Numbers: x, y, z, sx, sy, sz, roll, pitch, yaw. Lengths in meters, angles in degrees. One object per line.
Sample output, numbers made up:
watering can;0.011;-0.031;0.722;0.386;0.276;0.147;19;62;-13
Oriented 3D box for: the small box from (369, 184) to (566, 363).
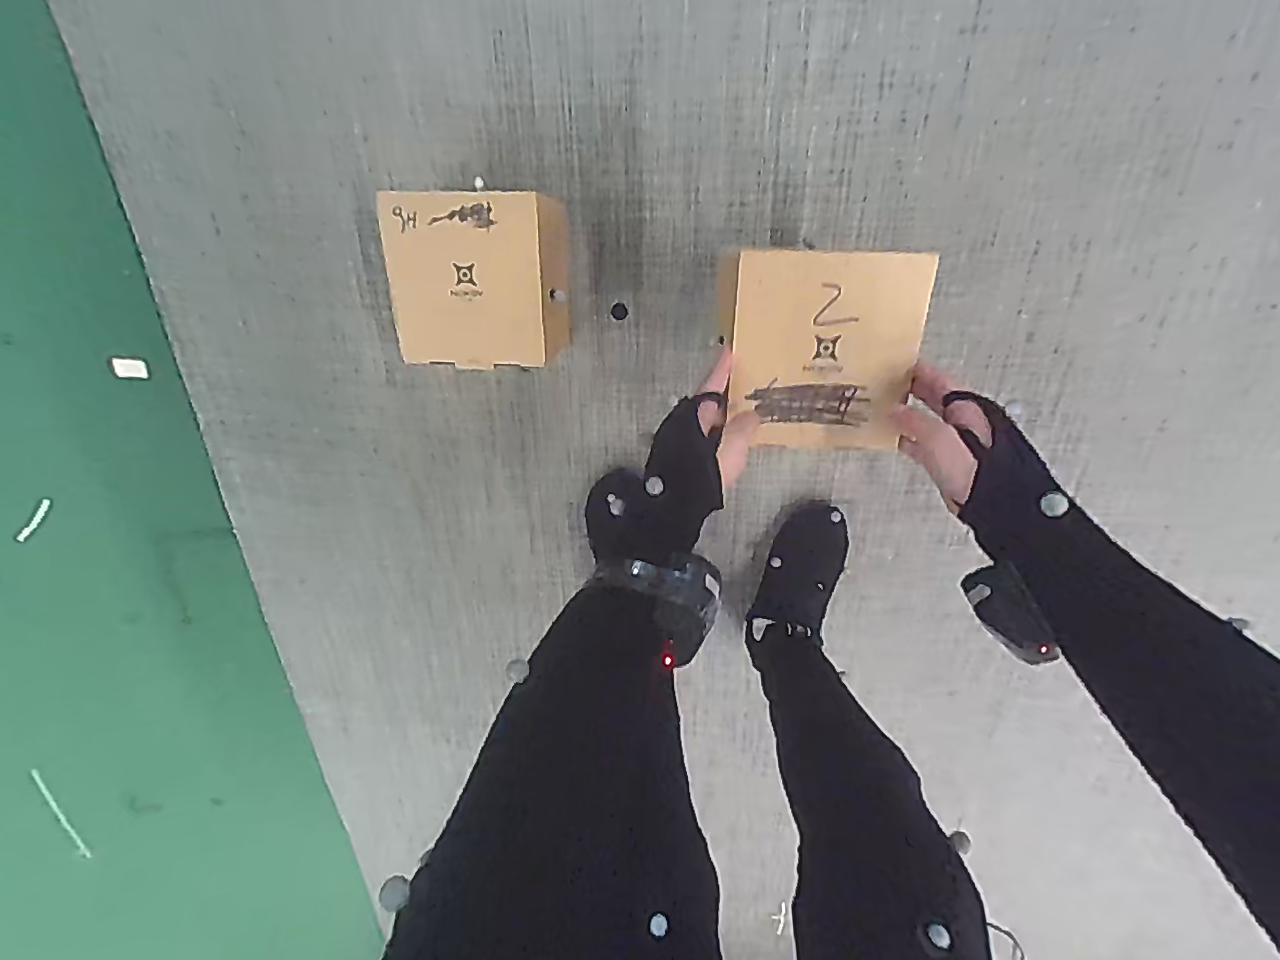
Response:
small box;-0.184;-0.246;0.640;0.168;0.176;0.179;1;115;2
